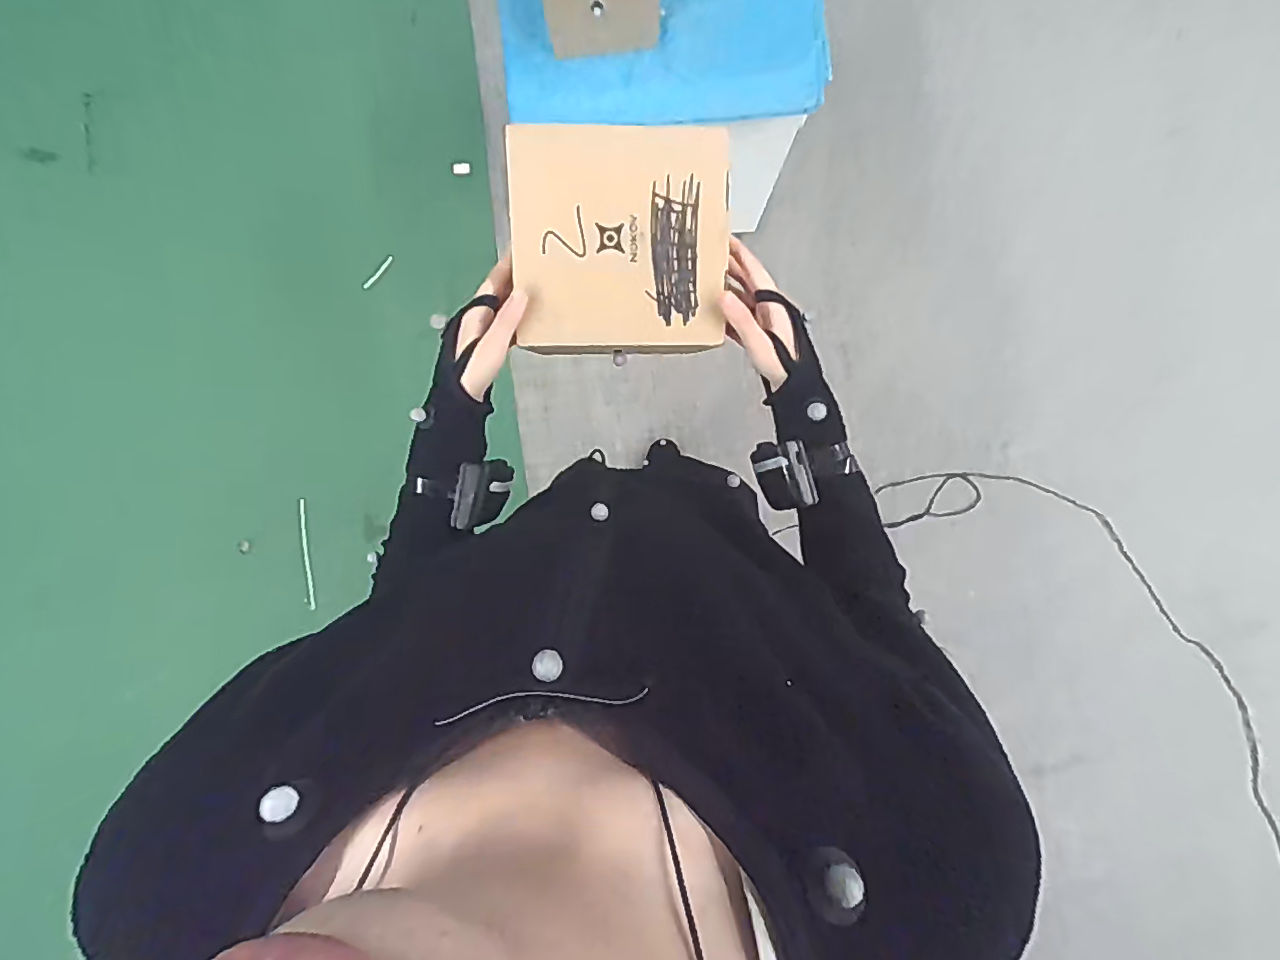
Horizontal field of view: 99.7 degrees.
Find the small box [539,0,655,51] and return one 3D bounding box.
[{"bbox_3d":[-0.069,-0.790,0.807,0.179,0.176,0.168,-6,90,2],"label":"small box"}]
